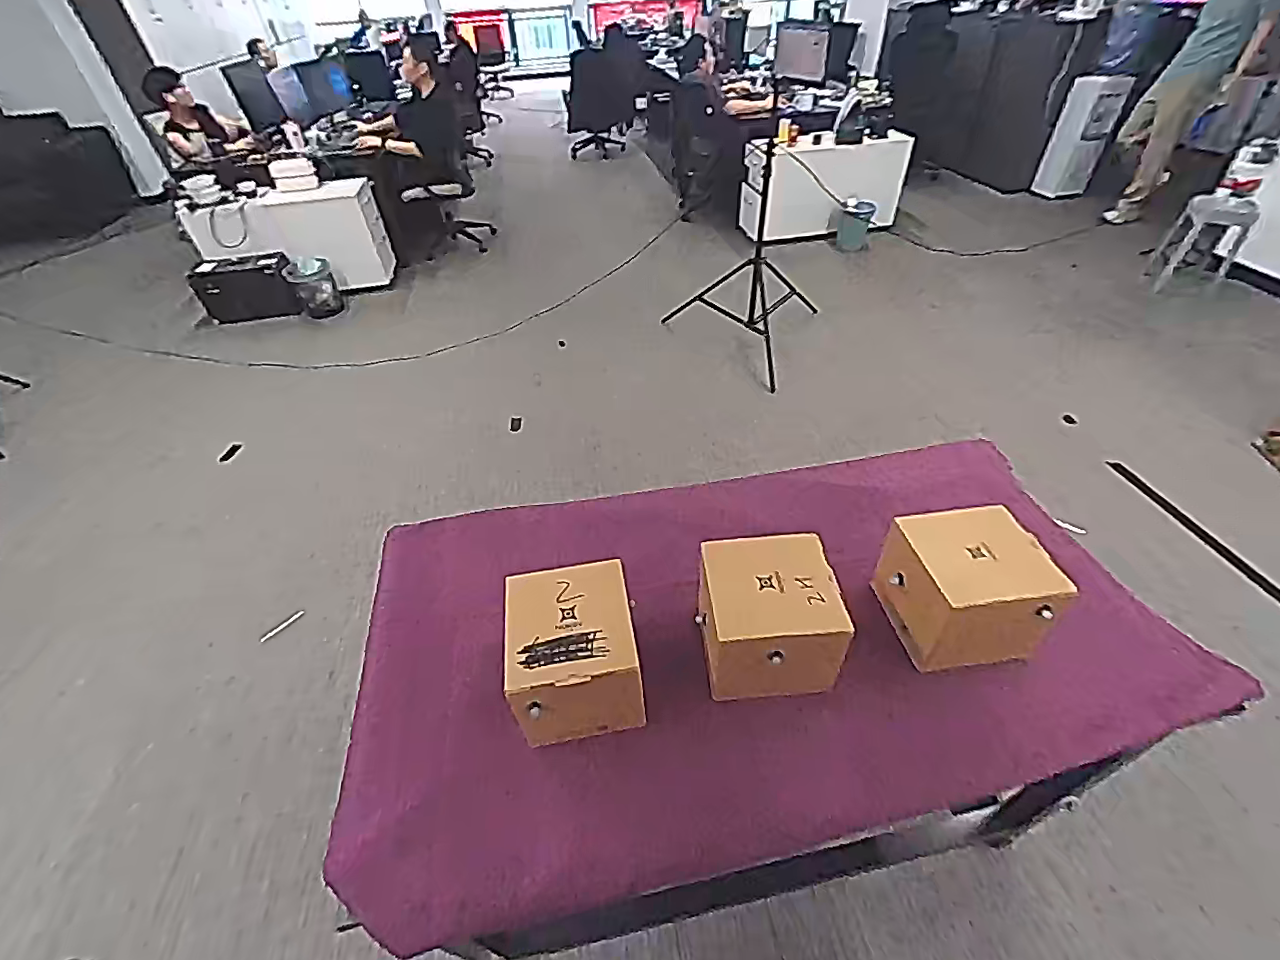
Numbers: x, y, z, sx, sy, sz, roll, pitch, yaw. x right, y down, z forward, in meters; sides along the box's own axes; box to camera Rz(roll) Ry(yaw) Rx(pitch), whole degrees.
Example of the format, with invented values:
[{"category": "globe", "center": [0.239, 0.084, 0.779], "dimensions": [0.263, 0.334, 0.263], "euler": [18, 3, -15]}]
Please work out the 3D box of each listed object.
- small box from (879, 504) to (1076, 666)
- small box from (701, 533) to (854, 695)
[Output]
[{"category": "small box", "center": [0.481, 0.160, 0.811], "dimensions": [0.179, 0.176, 0.168], "euler": [-7, 41, -3]}, {"category": "small box", "center": [0.185, 0.199, 0.790], "dimensions": [0.179, 0.176, 0.168], "euler": [-4, 43, 0]}]
